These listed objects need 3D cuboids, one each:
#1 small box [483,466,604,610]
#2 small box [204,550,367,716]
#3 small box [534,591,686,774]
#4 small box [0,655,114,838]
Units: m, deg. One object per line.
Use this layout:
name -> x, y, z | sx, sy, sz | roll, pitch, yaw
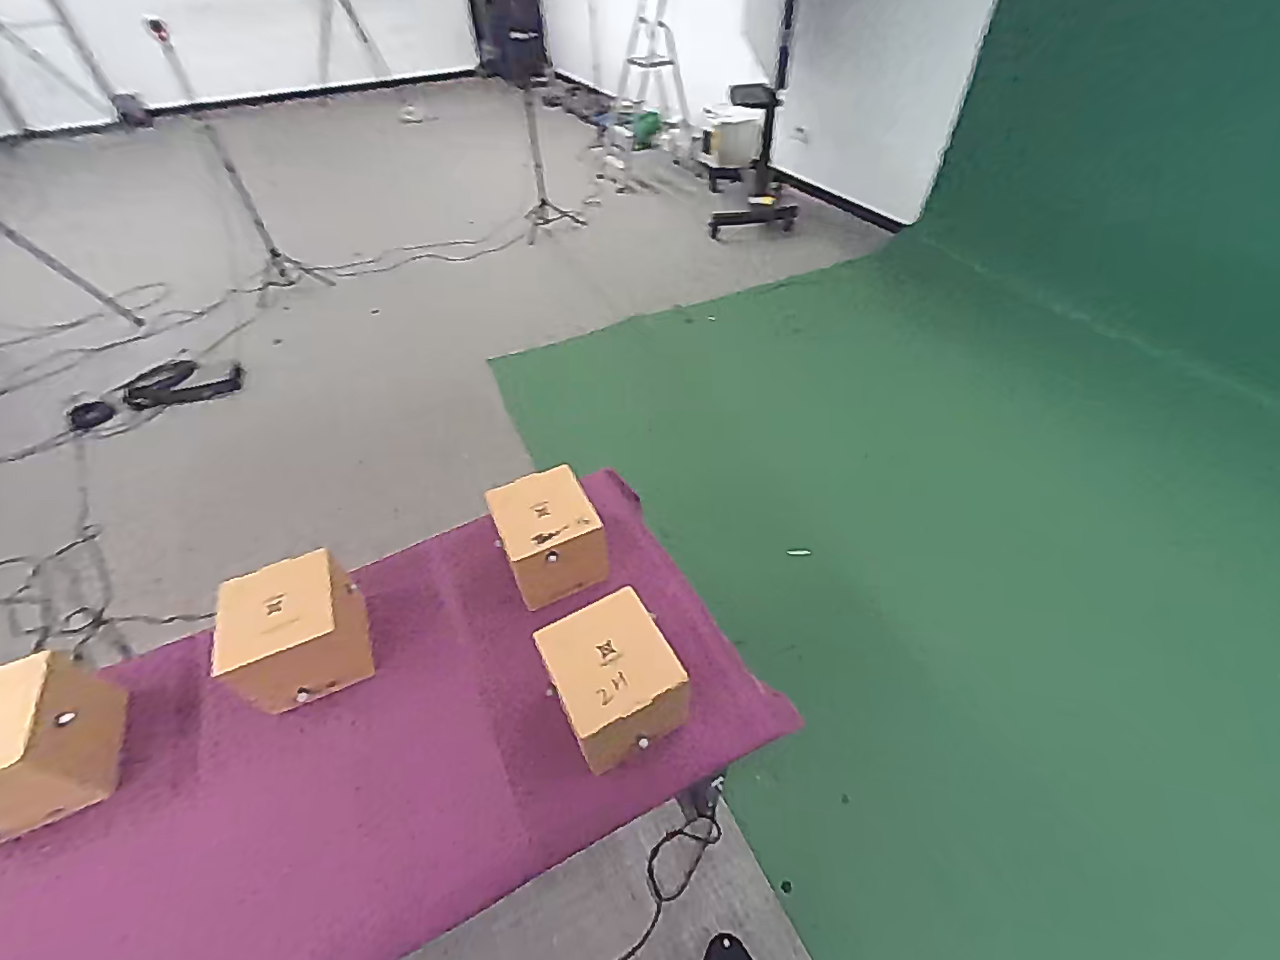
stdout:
small box -> -0.177, 0.109, 1.014 | 0.168, 0.176, 0.179 | -21, 51, -17
small box -> -0.570, 0.251, 0.888 | 0.168, 0.176, 0.179 | -20, 51, -16
small box -> -0.046, 0.309, 0.825 | 0.168, 0.176, 0.179 | -23, 52, -18
small box -> -0.899, 0.386, 0.761 | 0.168, 0.176, 0.179 | -20, 51, -18
